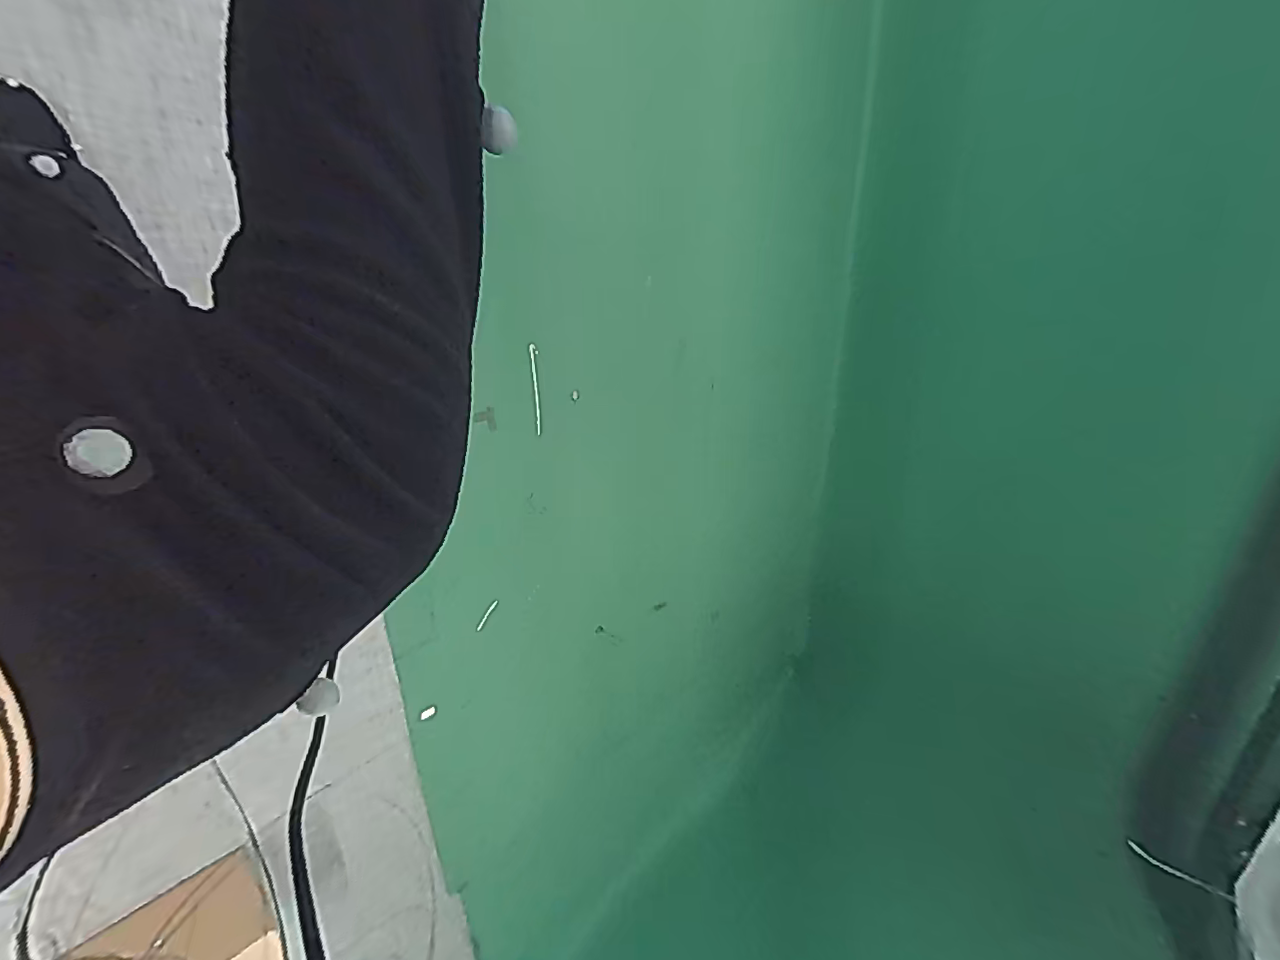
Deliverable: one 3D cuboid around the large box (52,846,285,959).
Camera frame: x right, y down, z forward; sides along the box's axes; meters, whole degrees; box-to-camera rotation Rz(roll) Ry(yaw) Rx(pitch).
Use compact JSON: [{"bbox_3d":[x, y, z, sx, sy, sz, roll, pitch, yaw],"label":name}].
[{"bbox_3d":[-1.147,1.238,1.322,0.408,0.320,0.320,-23,121,-45],"label":"large box"}]
